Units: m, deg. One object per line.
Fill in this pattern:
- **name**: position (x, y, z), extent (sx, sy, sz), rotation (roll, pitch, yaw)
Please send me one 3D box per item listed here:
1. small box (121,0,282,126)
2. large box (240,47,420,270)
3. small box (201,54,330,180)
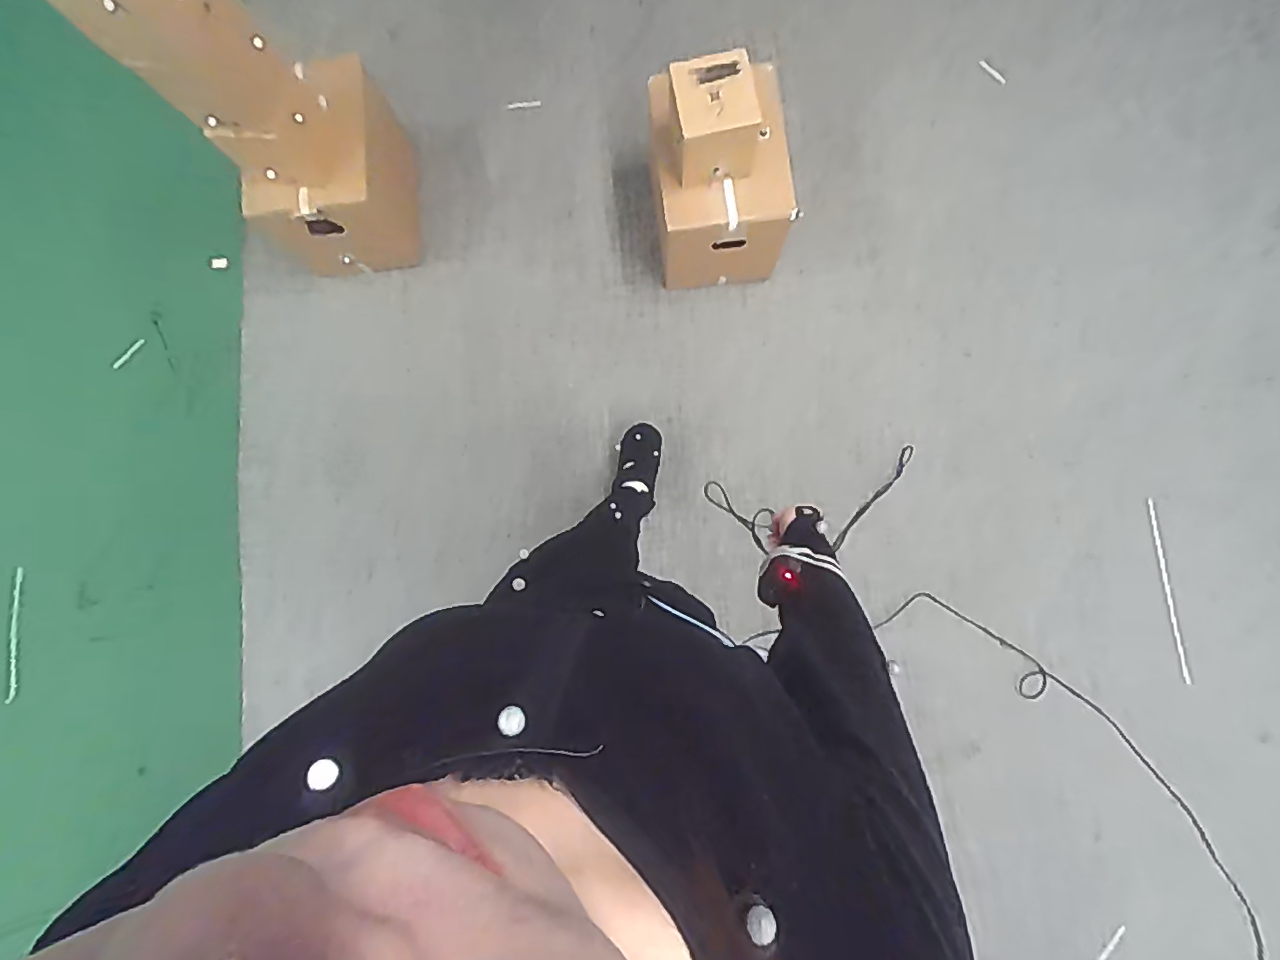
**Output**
- **small box**: position (-0.847, -0.846, 1.064), extent (0.168, 0.176, 0.179), rotation (8, 86, 4)
- **large box**: position (-0.826, -0.847, 1.471), extent (0.320, 0.320, 0.408), rotation (-6, 83, 1)
- **small box**: position (-0.835, -0.820, 1.225), extent (0.168, 0.176, 0.179), rotation (5, 85, 3)
